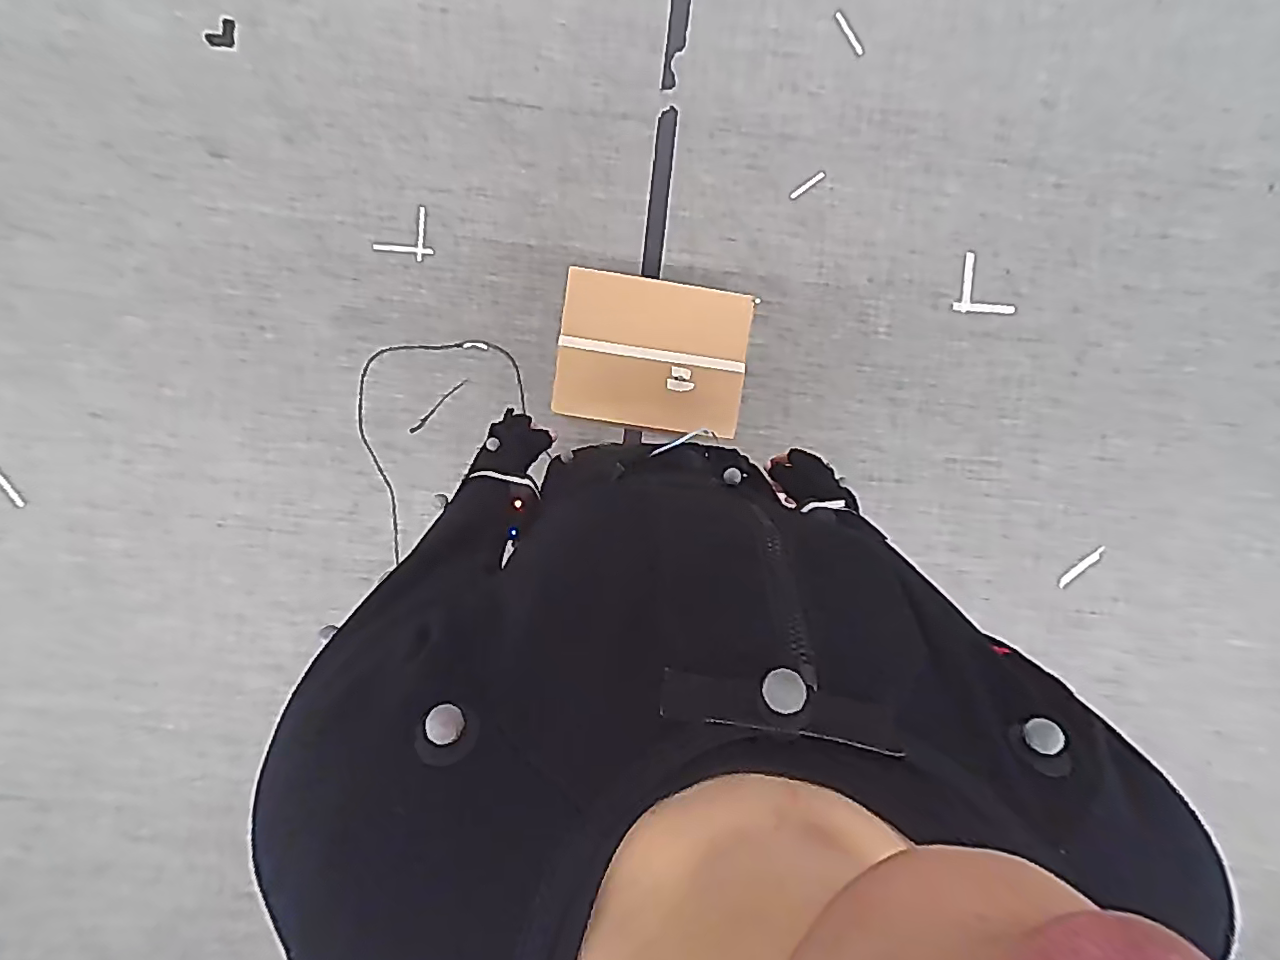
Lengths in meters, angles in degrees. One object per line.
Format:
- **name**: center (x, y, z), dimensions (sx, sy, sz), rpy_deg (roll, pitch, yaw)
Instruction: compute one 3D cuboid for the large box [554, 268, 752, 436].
- **large box**: center (0.018, -0.287, 1.320), dimensions (0.408, 0.320, 0.320), rpy_deg (8, 94, -4)
